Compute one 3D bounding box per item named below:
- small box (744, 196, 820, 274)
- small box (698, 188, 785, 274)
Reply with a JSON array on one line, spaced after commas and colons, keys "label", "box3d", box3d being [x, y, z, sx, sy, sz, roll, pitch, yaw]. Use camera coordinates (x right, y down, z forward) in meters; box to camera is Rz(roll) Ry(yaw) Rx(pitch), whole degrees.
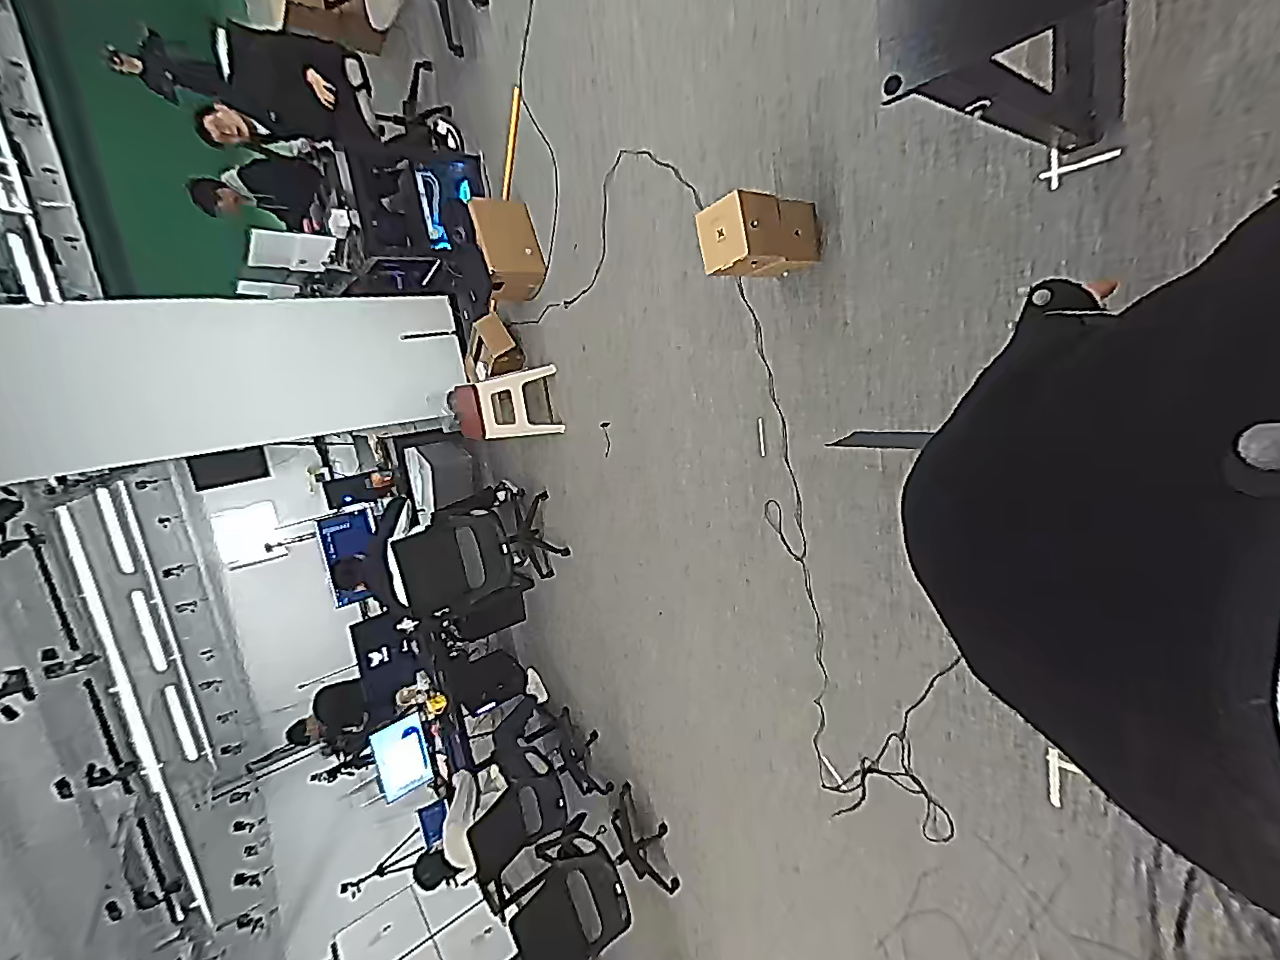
[{"label": "small box", "box3d": [0.422, -0.732, 1.634, 0.168, 0.176, 0.179, 2, 105, 53]}, {"label": "small box", "box3d": [0.294, -0.702, 1.540, 0.168, 0.176, 0.179, -4, 99, 53]}]
